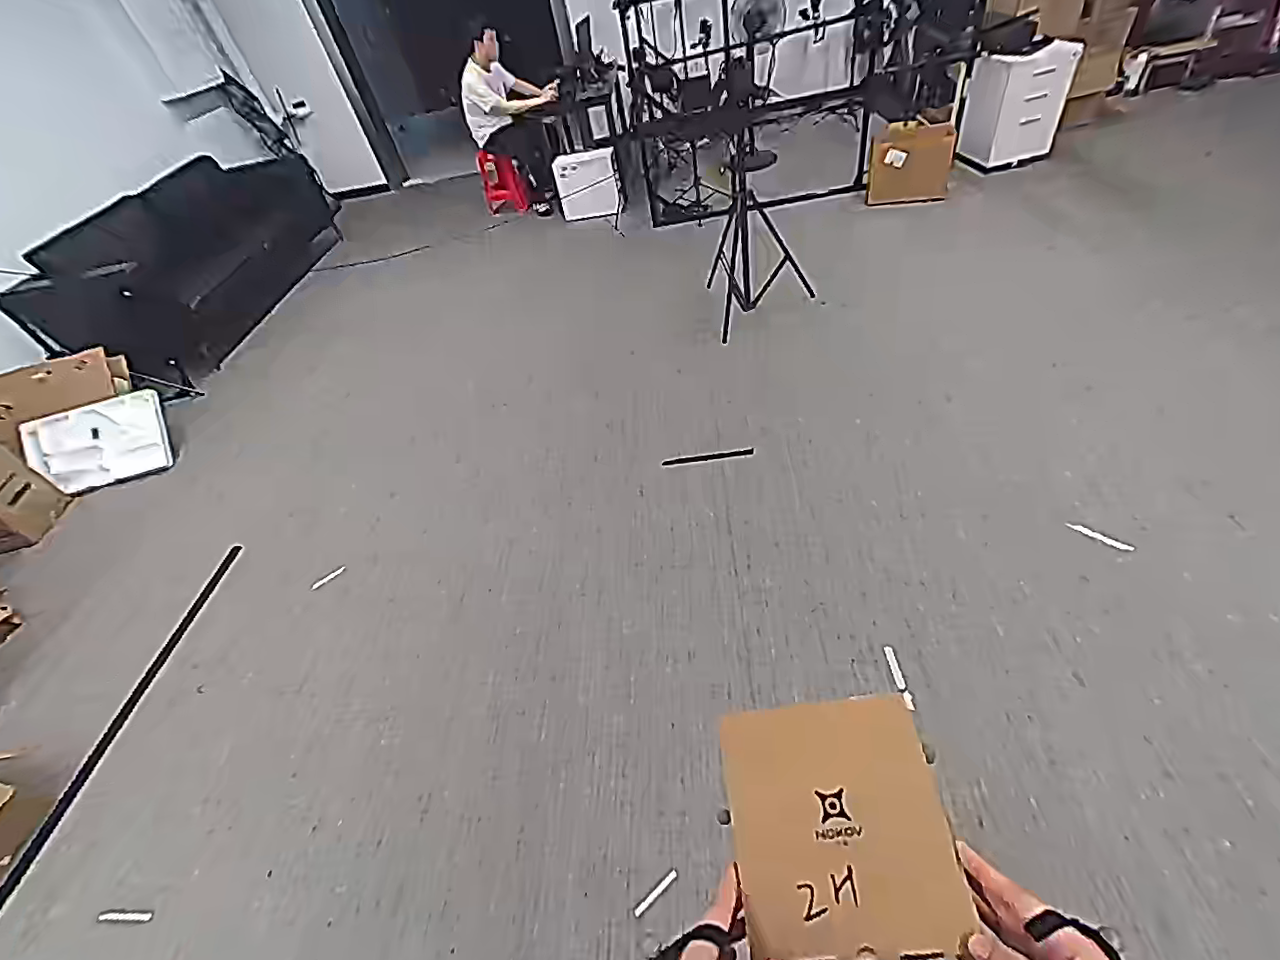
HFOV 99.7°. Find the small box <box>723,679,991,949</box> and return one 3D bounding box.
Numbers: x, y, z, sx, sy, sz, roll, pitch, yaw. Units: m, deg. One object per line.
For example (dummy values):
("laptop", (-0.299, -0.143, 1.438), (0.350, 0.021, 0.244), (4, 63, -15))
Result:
("small box", (0.174, 0.299, 0.493), (0.168, 0.176, 0.179), (-11, 55, 8))
